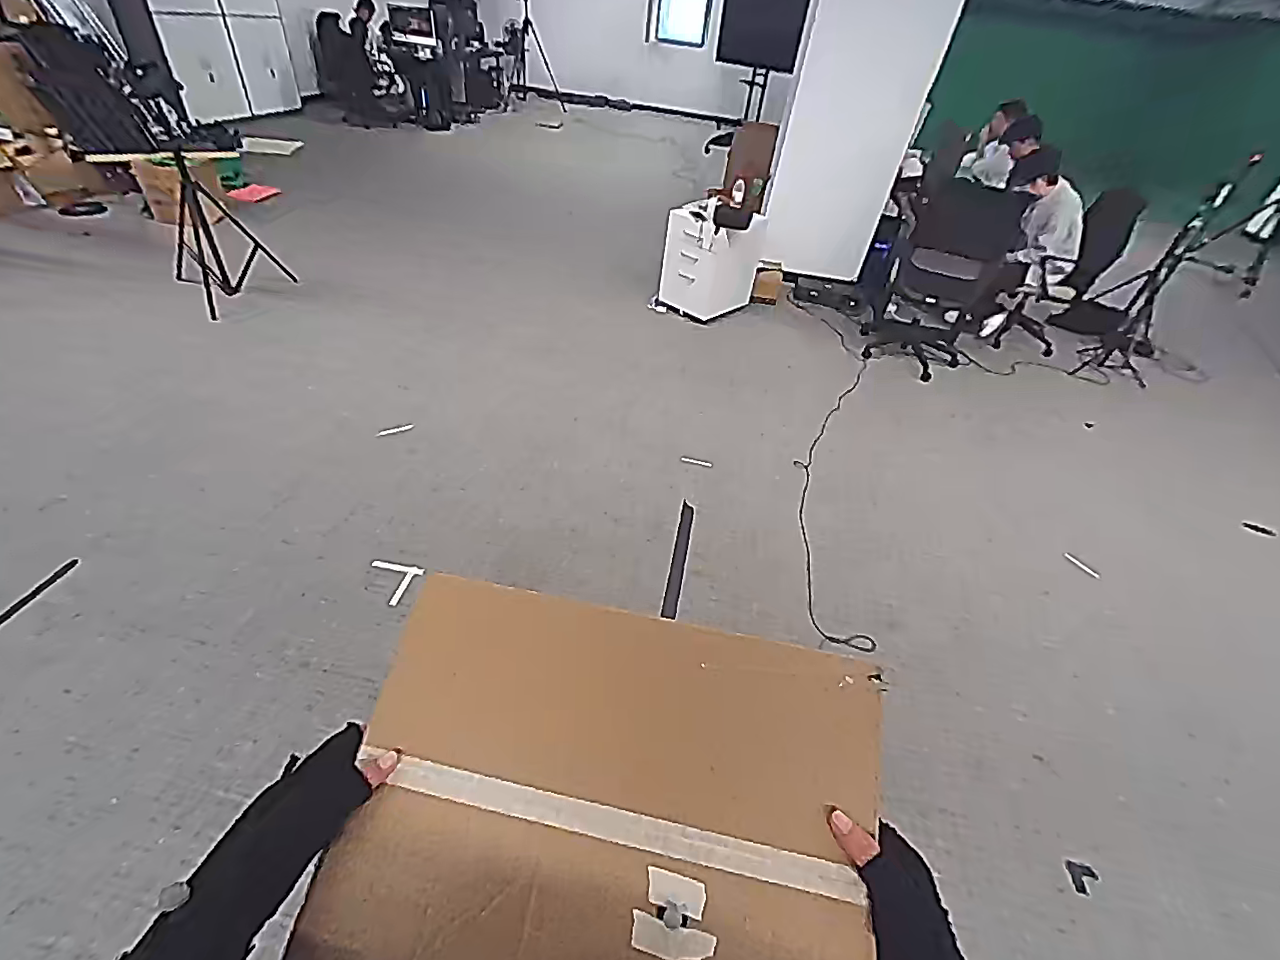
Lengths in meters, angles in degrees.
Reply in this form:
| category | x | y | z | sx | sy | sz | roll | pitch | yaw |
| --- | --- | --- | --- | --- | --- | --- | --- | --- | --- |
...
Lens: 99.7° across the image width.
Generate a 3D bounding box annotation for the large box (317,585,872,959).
| category | x | y | z | sx | sy | sz | roll | pitch | yaw |
| --- | --- | --- | --- | --- | --- | --- | --- | --- | --- |
| large box | -0.013 | 0.327 | 0.570 | 0.408 | 0.320 | 0.320 | 9 | 67 | 9 |
